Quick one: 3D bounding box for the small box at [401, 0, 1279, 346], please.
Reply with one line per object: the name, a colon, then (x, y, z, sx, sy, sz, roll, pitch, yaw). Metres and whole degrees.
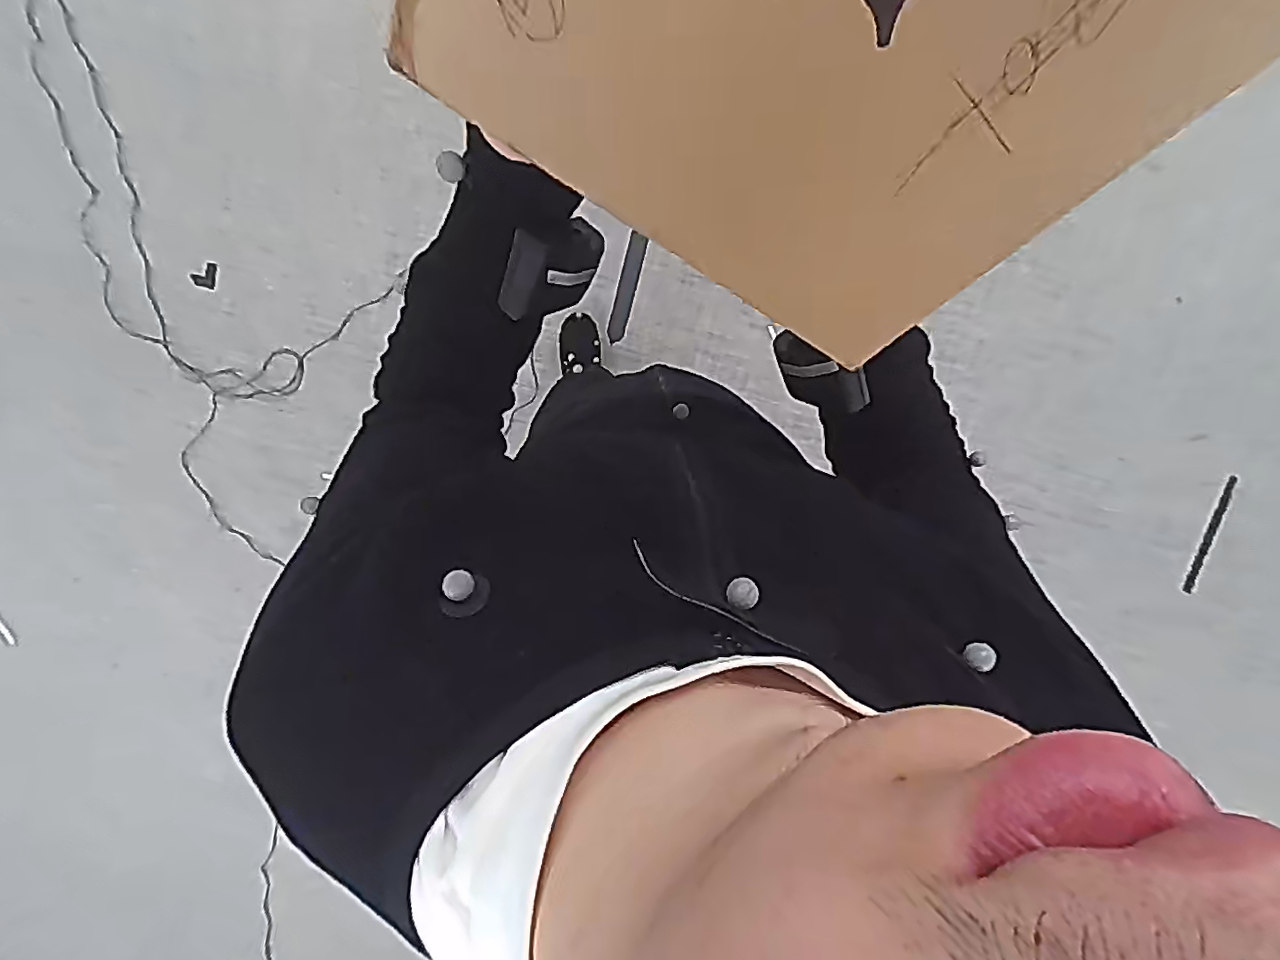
small box: (0.057, -0.184, 0.168, 0.179, 0.176, 0.168, 23, 142, -22)
